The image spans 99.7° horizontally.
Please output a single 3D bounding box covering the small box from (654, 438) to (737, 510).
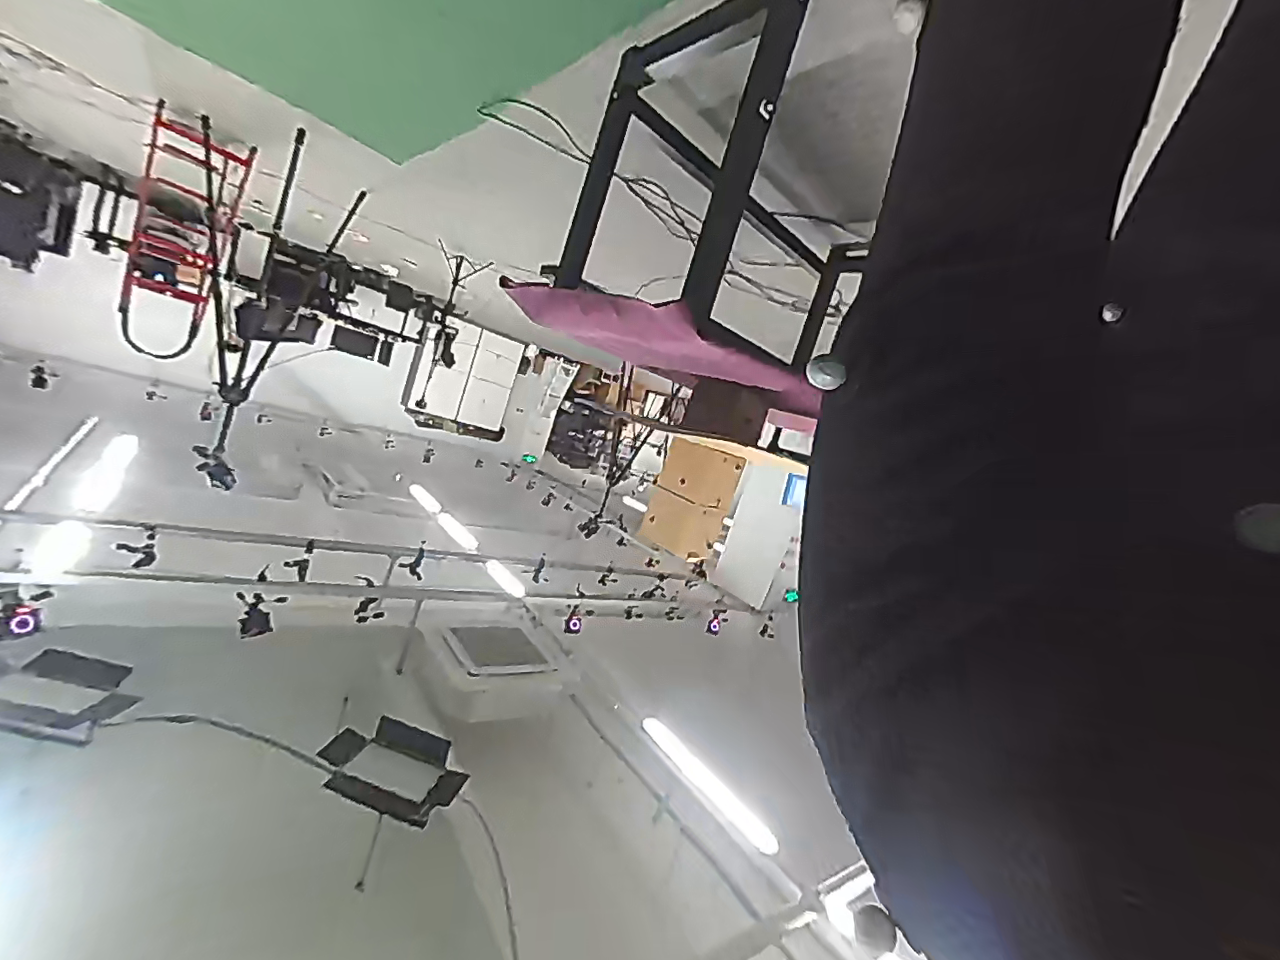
[{"bbox_3d":[0.174,-0.021,1.645,0.168,0.176,0.179,14,-173,-41],"label":"small box"}]
